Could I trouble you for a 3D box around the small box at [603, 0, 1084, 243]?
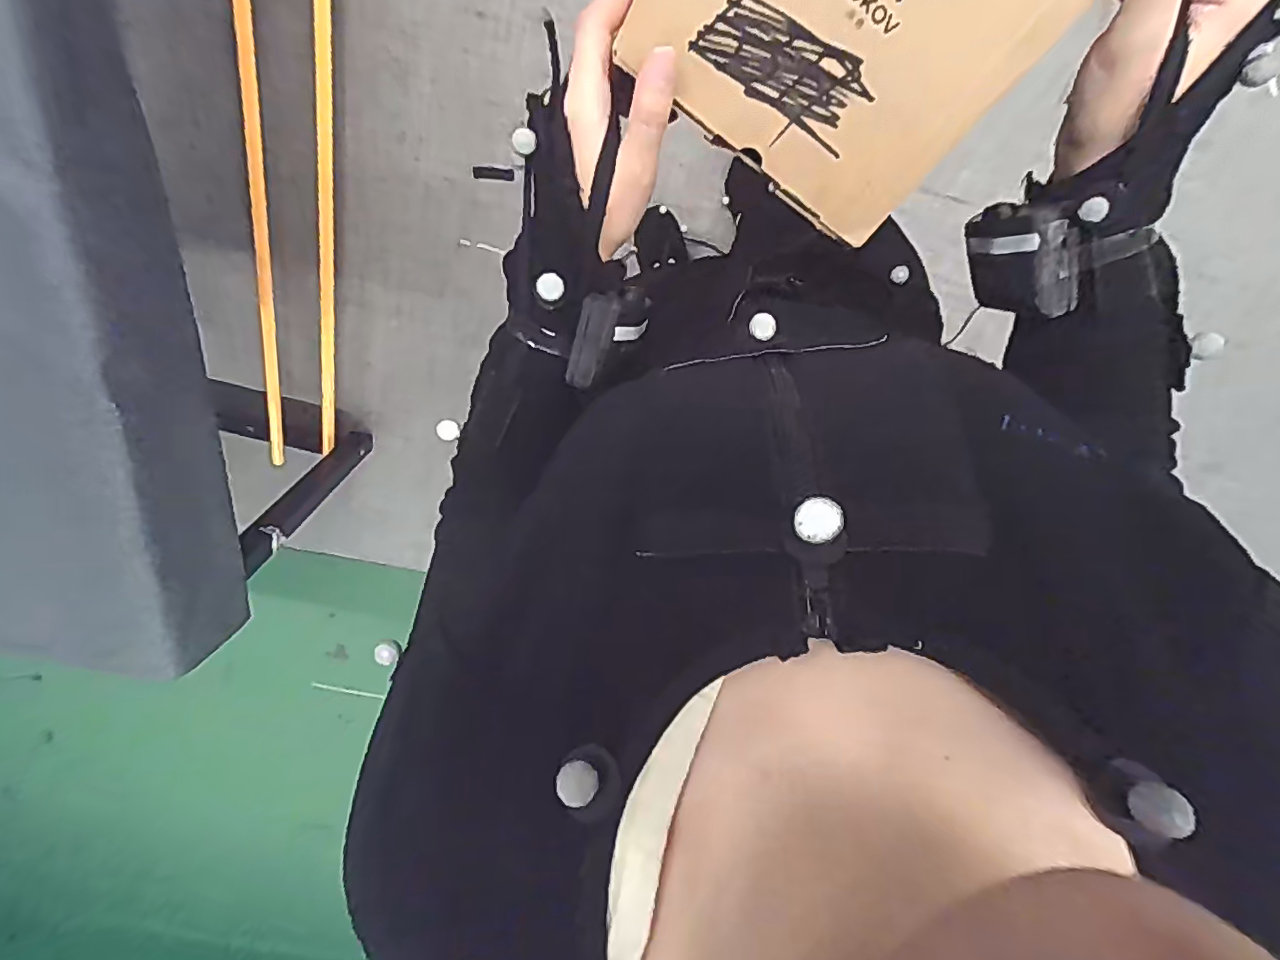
[{"bbox_3d":[0.098,-0.272,0.281,0.168,0.176,0.179,25,131,-25],"label":"small box"}]
